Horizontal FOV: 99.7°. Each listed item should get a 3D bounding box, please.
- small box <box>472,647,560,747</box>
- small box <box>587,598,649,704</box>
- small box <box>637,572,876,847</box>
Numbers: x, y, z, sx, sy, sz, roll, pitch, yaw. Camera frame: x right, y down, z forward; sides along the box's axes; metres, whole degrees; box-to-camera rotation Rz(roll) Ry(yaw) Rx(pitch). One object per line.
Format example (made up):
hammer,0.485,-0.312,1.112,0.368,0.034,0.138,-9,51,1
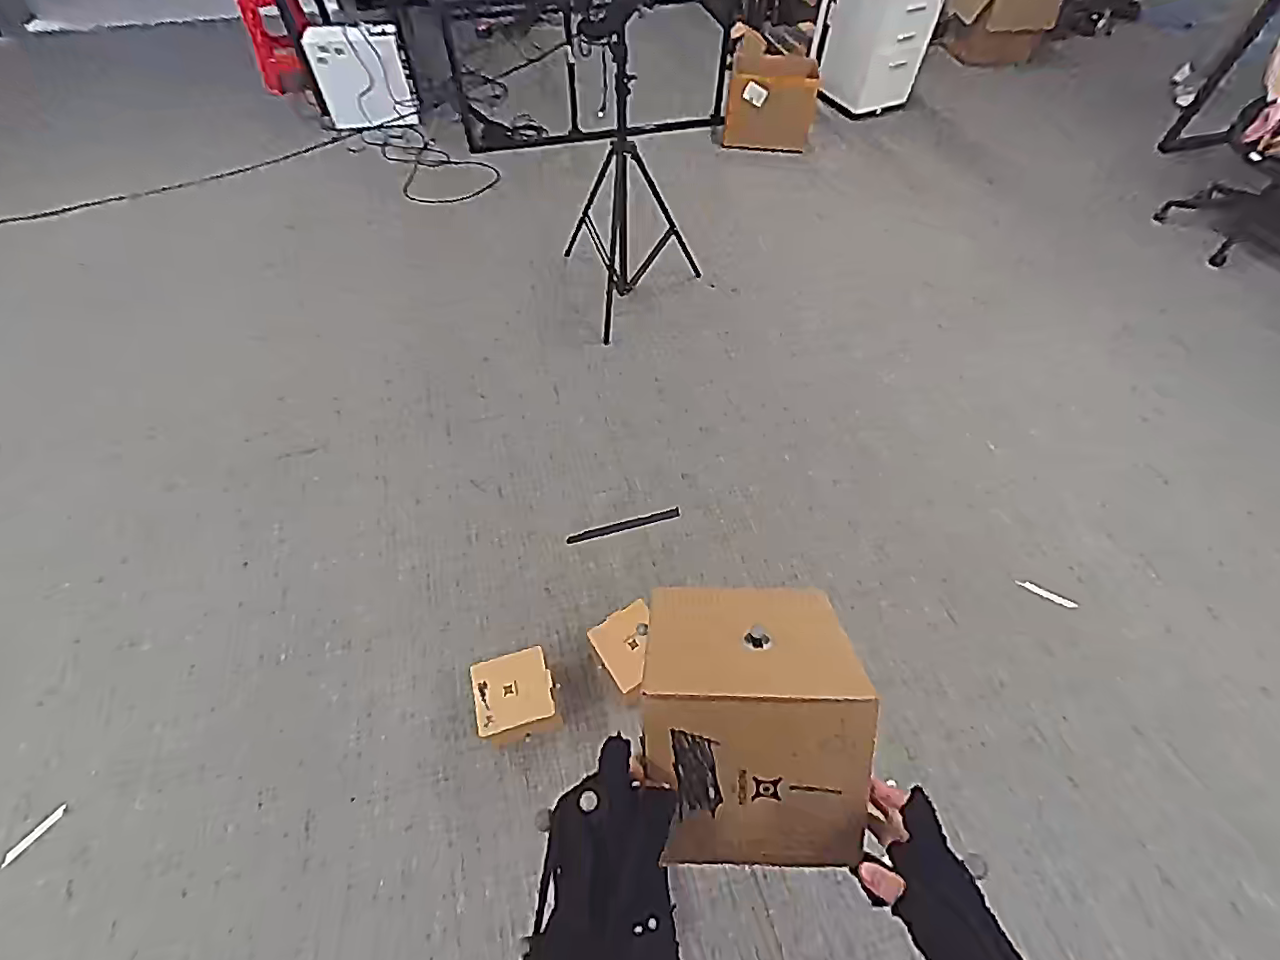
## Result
small box,-0.295,0.529,1.312,0.179,0.176,0.168,-14,57,-10
small box,-0.019,0.440,1.377,0.168,0.176,0.179,-30,62,-18
small box,0.093,0.194,0.497,0.179,0.168,0.176,-1,18,4
